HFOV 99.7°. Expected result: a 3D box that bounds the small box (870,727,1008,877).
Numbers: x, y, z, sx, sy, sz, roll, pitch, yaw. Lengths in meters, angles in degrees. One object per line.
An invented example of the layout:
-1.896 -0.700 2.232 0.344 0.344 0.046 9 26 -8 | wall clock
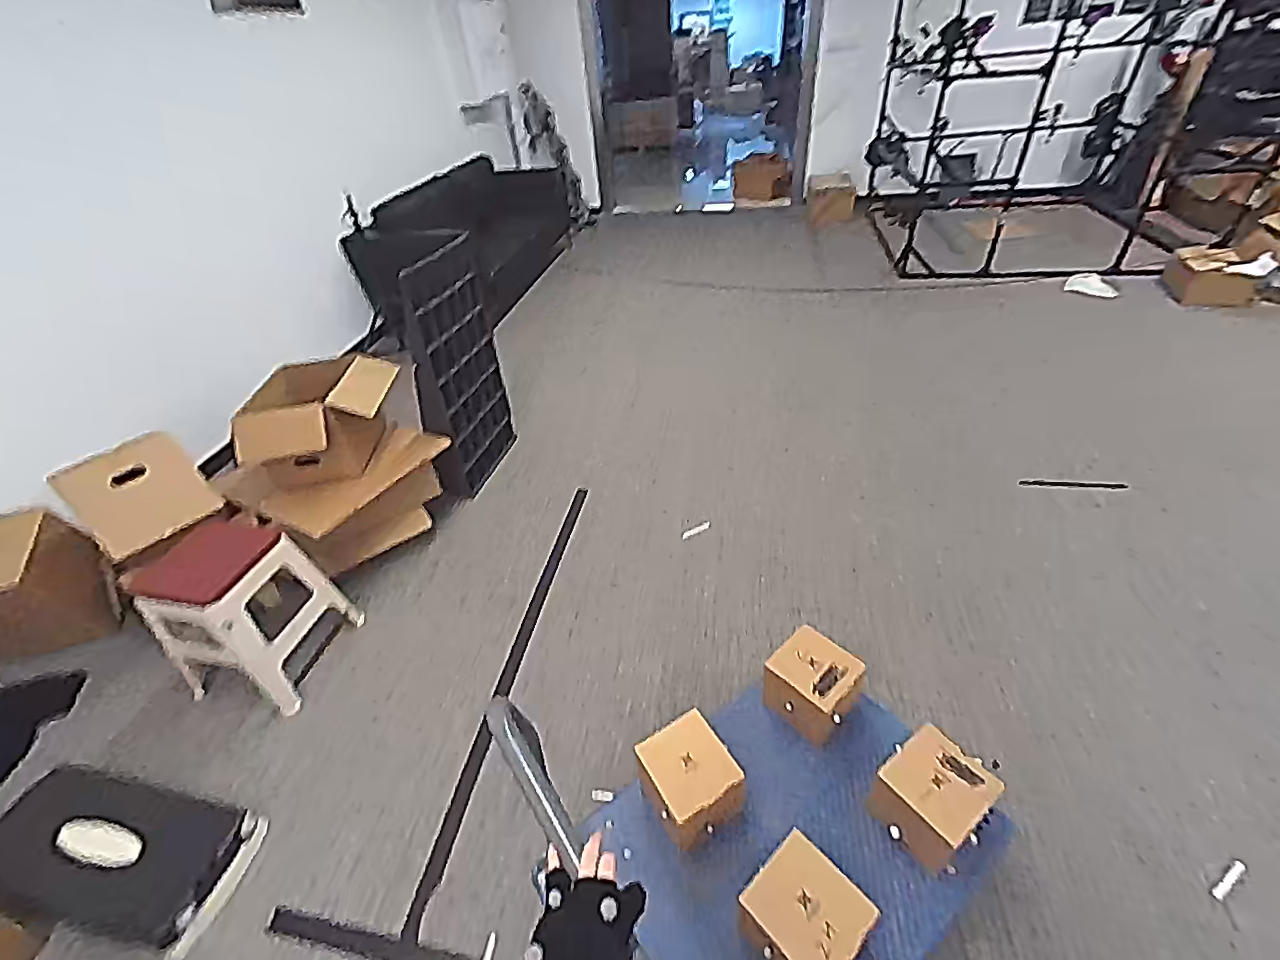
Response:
0.596 0.654 1.103 0.179 0.176 0.168 -27 43 -23 | small box

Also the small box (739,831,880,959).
0.292 0.789 0.967 0.168 0.176 0.179 -30 44 -28 | small box

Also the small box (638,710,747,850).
0.108 0.648 1.170 0.168 0.176 0.179 -23 43 -22 | small box
